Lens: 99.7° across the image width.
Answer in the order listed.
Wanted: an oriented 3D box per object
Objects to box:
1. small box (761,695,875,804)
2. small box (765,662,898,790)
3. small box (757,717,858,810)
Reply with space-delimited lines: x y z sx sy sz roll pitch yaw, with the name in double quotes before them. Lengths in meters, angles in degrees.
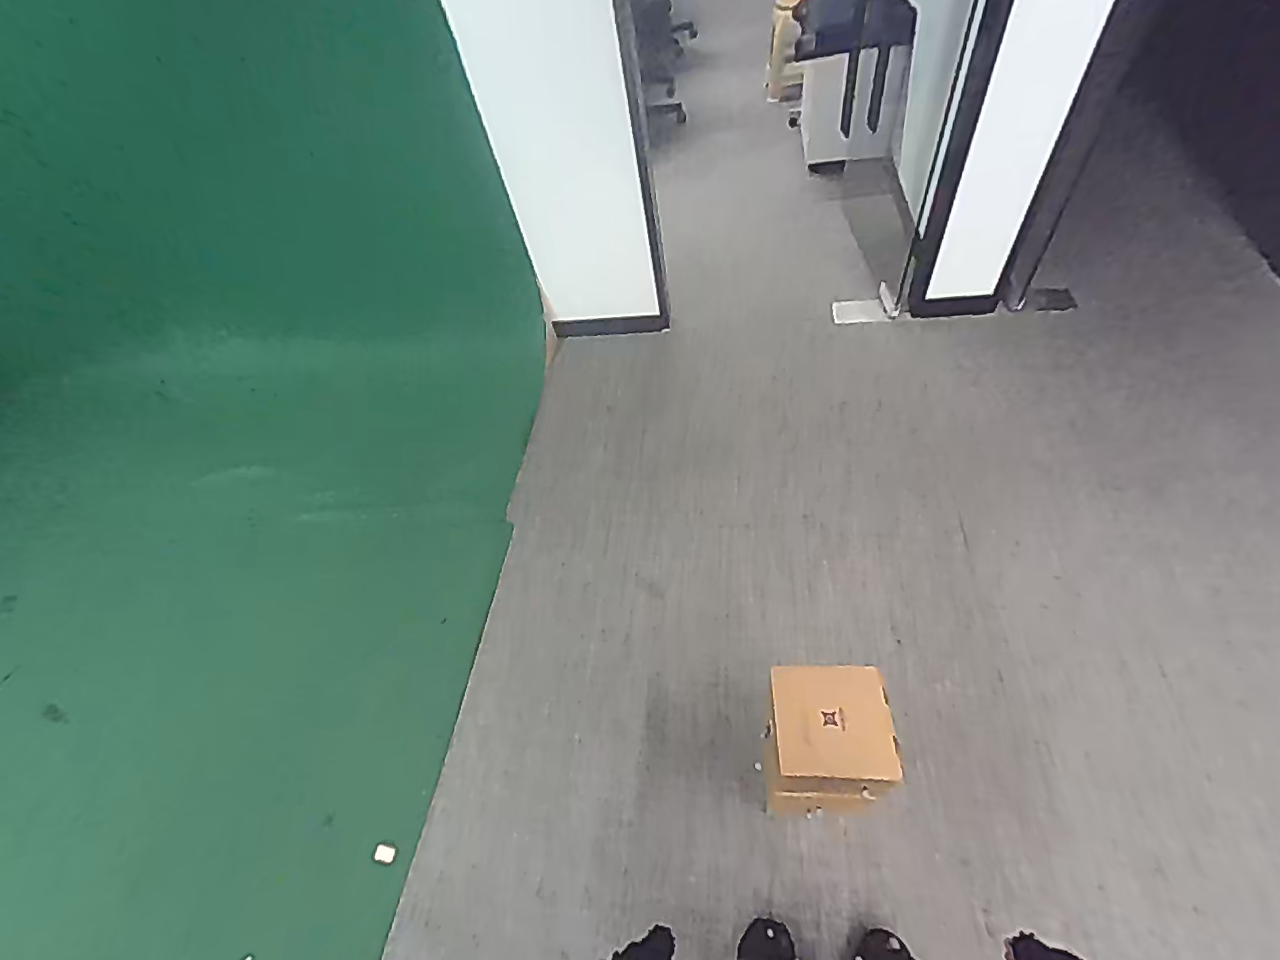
"small box" 0.329 0.515 1.036 0.179 0.176 0.168 -3 53 9
"small box" 0.308 0.415 0.910 0.179 0.176 0.168 -4 52 9
"small box" 0.355 0.608 1.168 0.179 0.176 0.168 -6 53 5
